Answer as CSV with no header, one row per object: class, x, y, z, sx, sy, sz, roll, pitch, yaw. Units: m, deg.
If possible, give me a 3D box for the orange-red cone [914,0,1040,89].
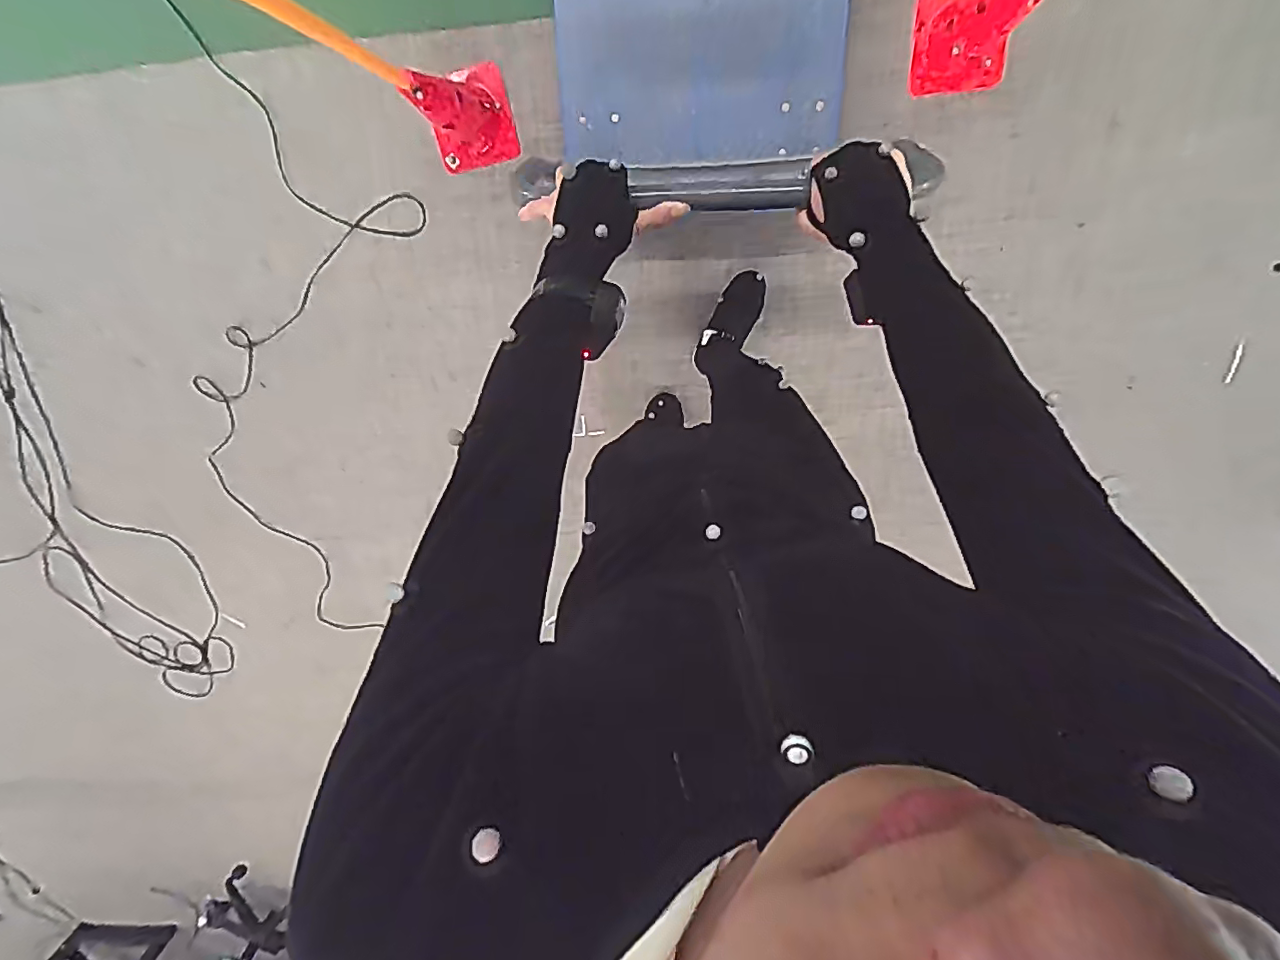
orange-red cone,0.686,-0.892,0.998,0.198,0.360,0.199,-2,112,5
